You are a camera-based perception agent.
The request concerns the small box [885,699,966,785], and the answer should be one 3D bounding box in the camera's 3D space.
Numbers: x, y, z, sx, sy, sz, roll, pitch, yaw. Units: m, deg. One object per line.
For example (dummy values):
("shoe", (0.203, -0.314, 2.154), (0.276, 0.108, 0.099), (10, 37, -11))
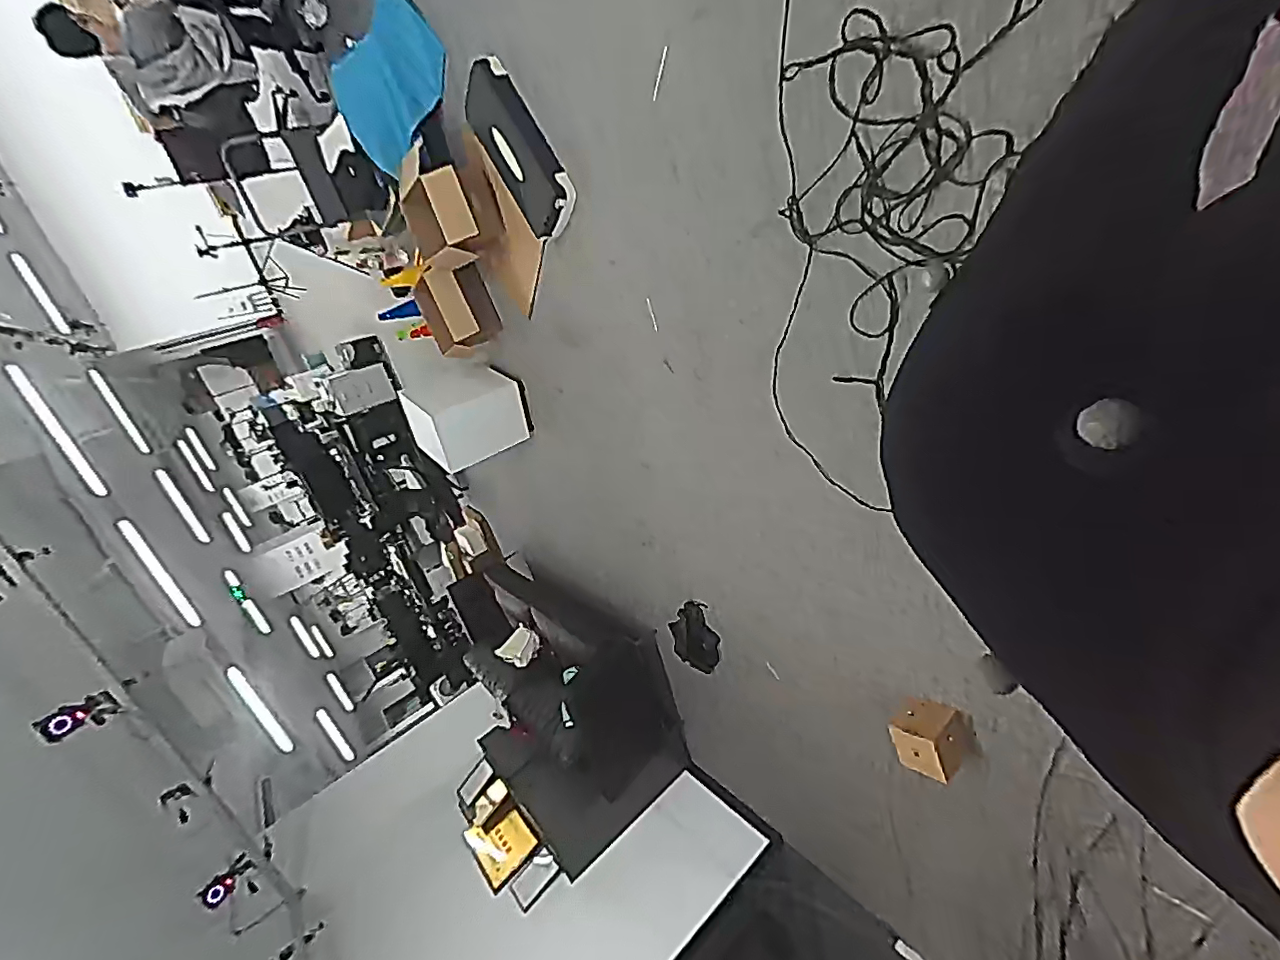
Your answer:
("small box", (0.982, 0.889, 1.855), (0.168, 0.176, 0.179), (-4, 113, 59))
